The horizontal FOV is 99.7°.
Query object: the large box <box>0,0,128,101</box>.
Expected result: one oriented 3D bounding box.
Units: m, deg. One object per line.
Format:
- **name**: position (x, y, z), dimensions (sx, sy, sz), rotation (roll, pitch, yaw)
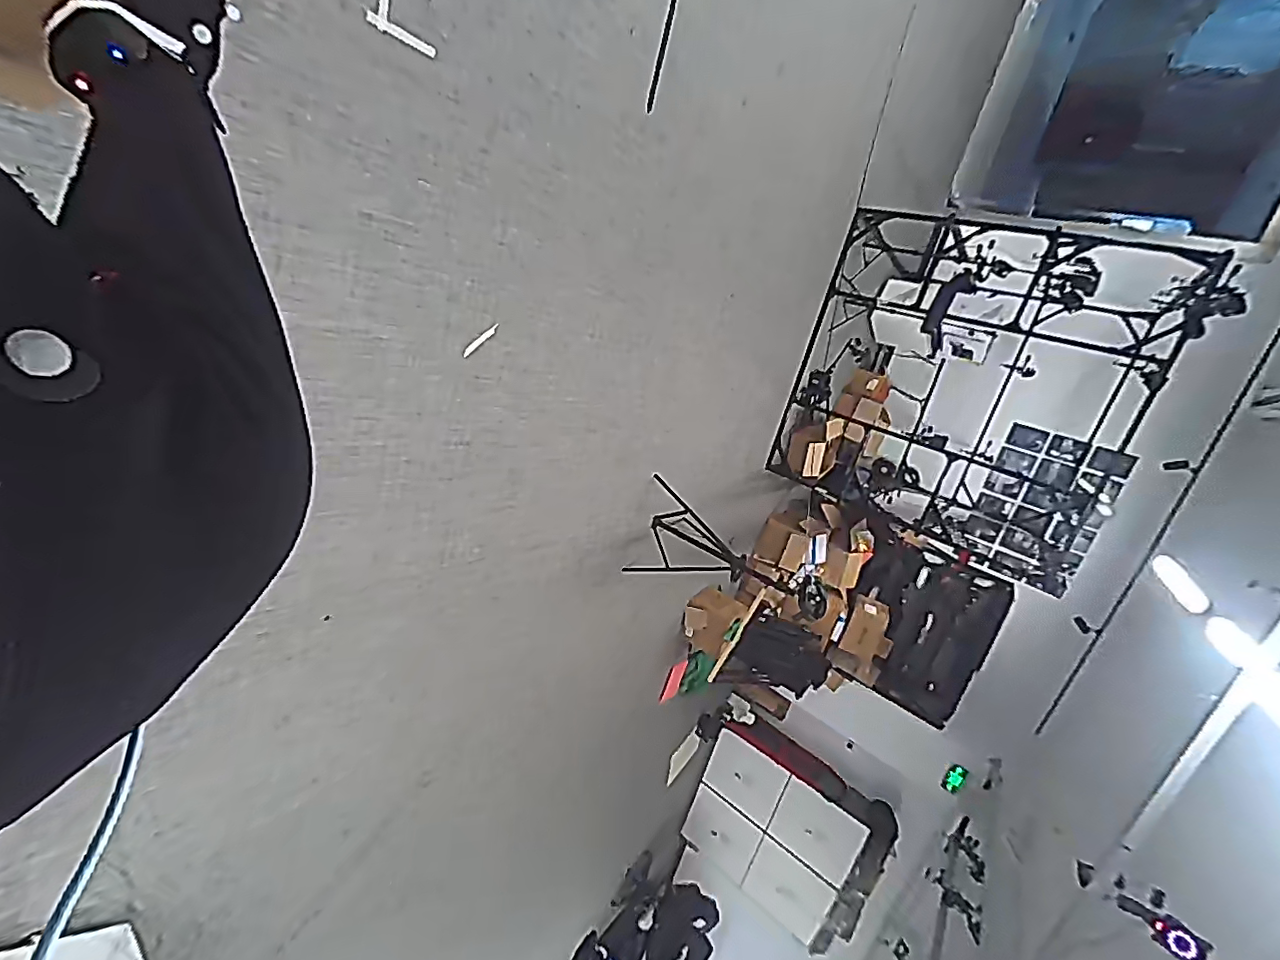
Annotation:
- **large box**: position (-0.631, -0.523, 0.346), dimensions (0.408, 0.320, 0.320), rotation (2, 109, -57)
